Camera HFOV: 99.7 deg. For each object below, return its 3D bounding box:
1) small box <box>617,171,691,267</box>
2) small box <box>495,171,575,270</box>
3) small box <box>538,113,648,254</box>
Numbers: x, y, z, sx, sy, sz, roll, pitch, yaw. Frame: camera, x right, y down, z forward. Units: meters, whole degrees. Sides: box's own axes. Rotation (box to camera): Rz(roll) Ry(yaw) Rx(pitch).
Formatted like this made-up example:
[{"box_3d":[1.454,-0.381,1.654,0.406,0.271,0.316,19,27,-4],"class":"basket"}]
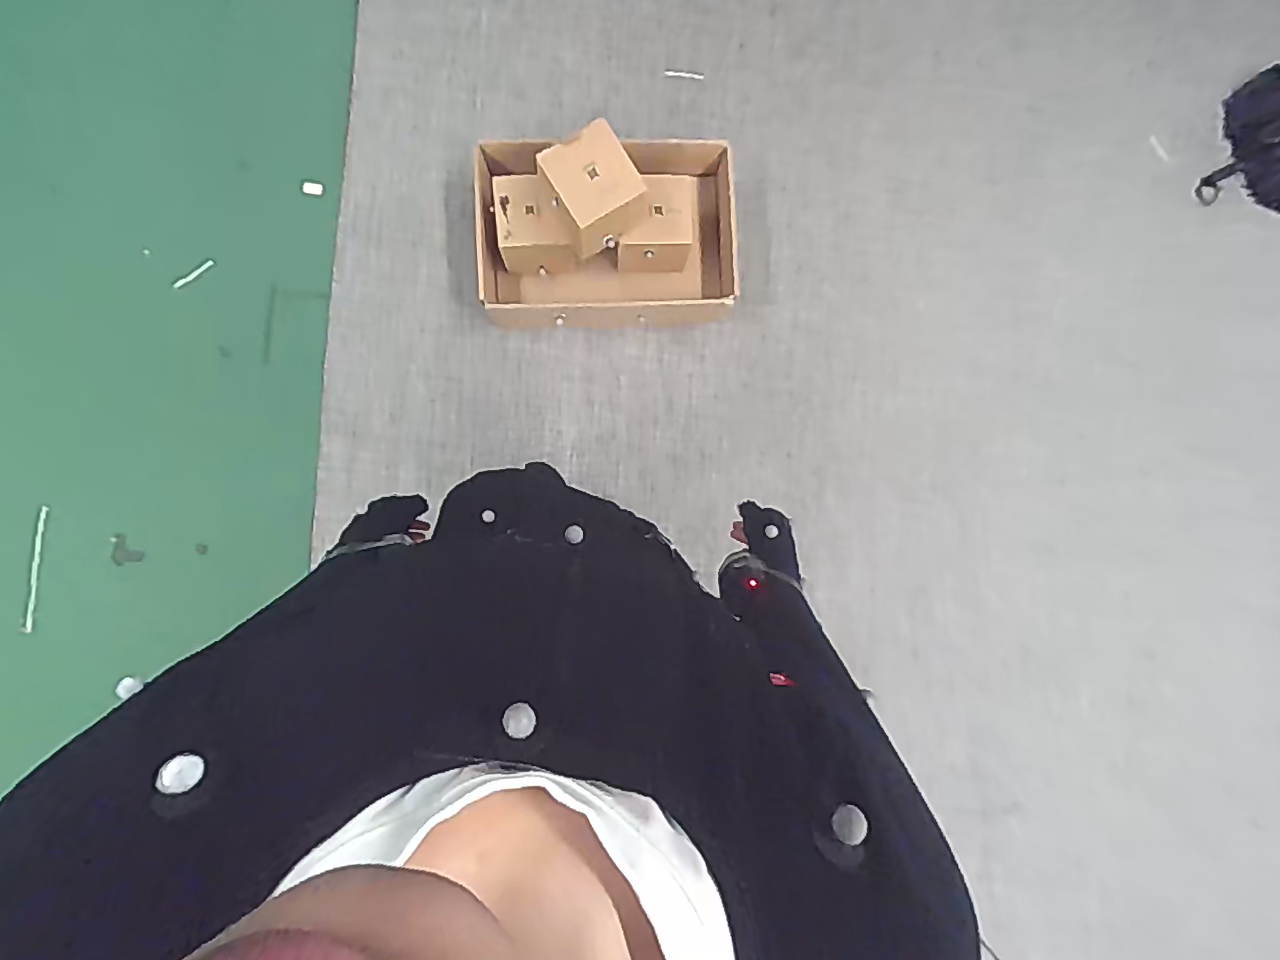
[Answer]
[{"box_3d":[0.028,-0.642,1.346,0.179,0.176,0.168,-1,90,-4],"class":"small box"},{"box_3d":[-0.252,-0.629,1.325,0.179,0.176,0.168,-5,89,-7],"class":"small box"},{"box_3d":[-0.103,-0.633,1.176,0.168,0.176,0.179,-33,94,-4],"class":"small box"}]
